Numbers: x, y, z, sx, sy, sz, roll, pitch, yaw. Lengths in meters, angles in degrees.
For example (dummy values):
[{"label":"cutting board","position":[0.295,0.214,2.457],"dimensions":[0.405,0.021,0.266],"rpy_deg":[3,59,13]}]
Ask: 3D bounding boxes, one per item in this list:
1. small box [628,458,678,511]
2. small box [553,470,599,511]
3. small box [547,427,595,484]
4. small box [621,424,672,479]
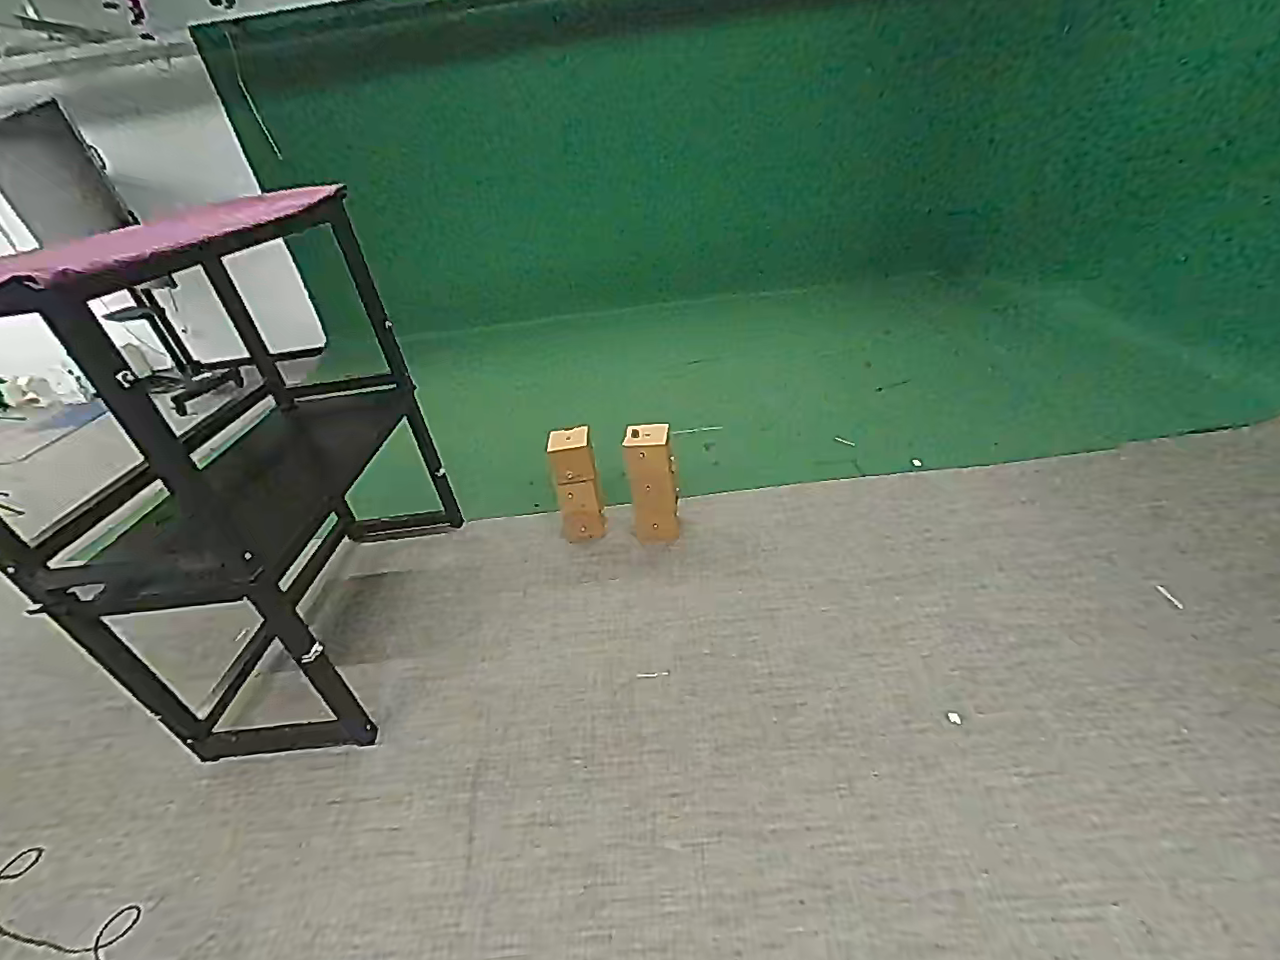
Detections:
[{"label":"small box","position":[0.060,0.020,2.313],"dimensions":[0.179,0.176,0.168],"rpy_deg":[0,35,13]},{"label":"small box","position":[-0.279,0.025,2.390],"dimensions":[0.168,0.176,0.179],"rpy_deg":[-7,32,3]},{"label":"small box","position":[-0.288,-0.103,2.289],"dimensions":[0.168,0.176,0.179],"rpy_deg":[-10,33,2]},{"label":"small box","position":[0.032,-0.113,2.222],"dimensions":[0.179,0.176,0.168],"rpy_deg":[-2,35,10]}]
